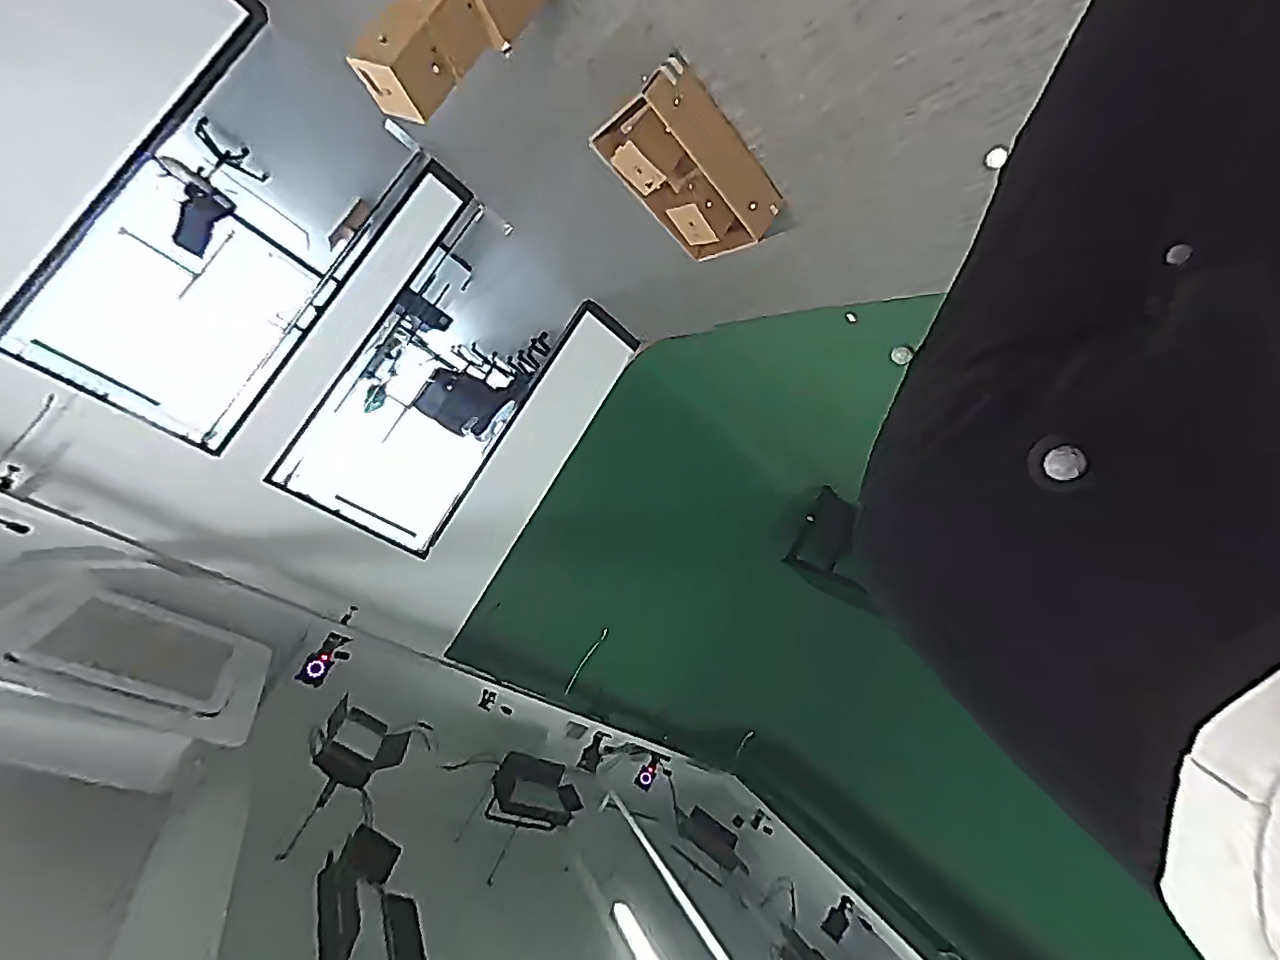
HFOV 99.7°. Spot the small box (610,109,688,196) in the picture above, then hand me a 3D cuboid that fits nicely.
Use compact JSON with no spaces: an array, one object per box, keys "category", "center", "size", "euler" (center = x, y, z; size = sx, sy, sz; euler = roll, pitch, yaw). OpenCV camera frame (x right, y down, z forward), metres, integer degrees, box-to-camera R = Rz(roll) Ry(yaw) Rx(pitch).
[{"category":"small box","center":[0.032,-1.147,1.887],"size":[0.179,0.176,0.168],"euler":[35,171,-26]}]

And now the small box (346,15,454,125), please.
[{"category":"small box","center":[-0.651,-1.128,1.486],"size":[0.179,0.176,0.168],"euler":[27,171,19]}]
